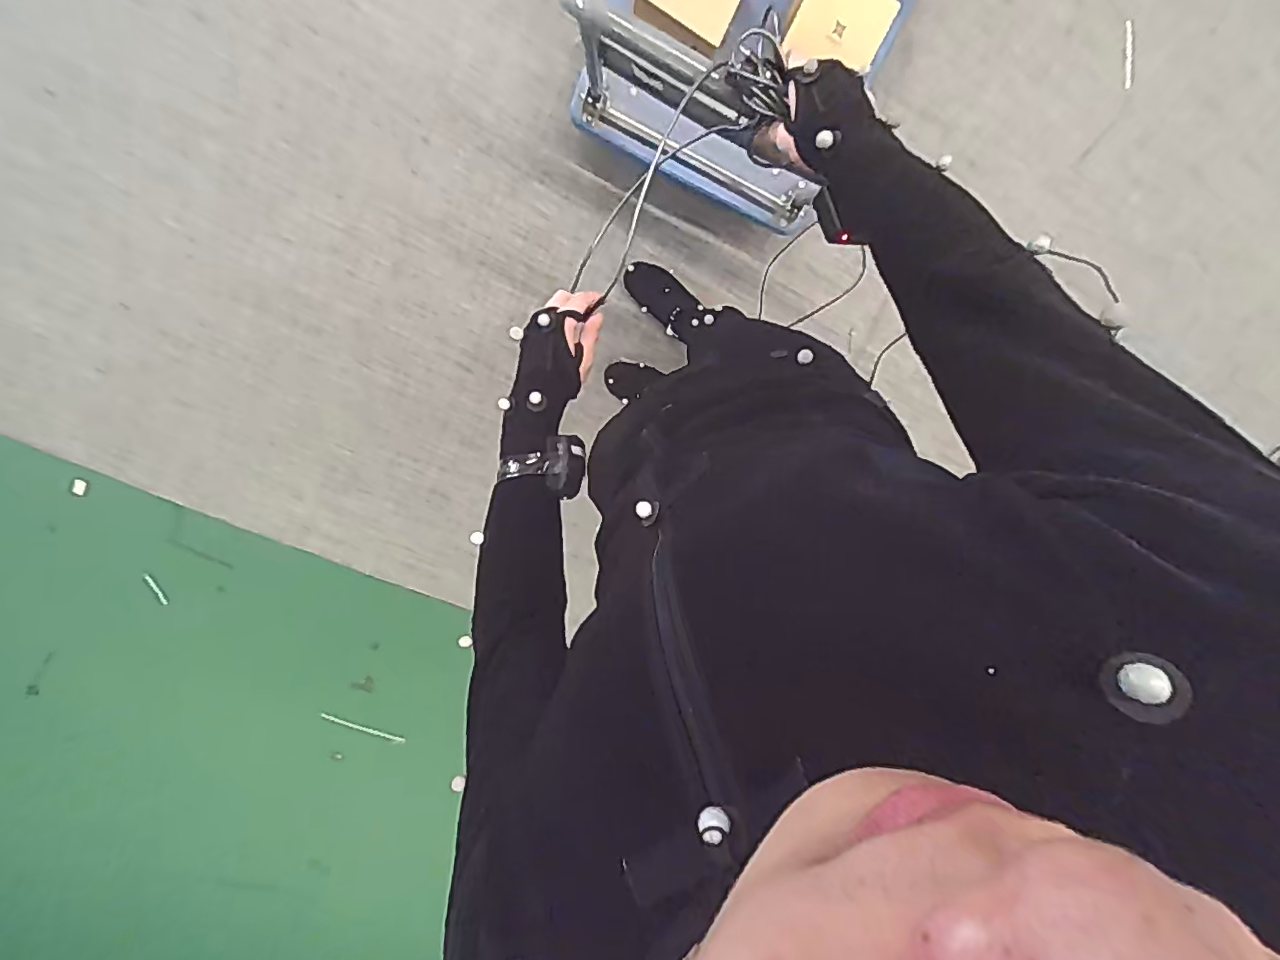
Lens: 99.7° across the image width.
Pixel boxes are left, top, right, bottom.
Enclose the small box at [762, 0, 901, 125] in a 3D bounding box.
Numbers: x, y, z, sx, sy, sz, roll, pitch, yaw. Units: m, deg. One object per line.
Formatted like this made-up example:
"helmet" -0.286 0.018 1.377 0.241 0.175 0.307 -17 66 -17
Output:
"small box" 0.361 -0.842 1.062 0.168 0.176 0.179 23 111 -11
